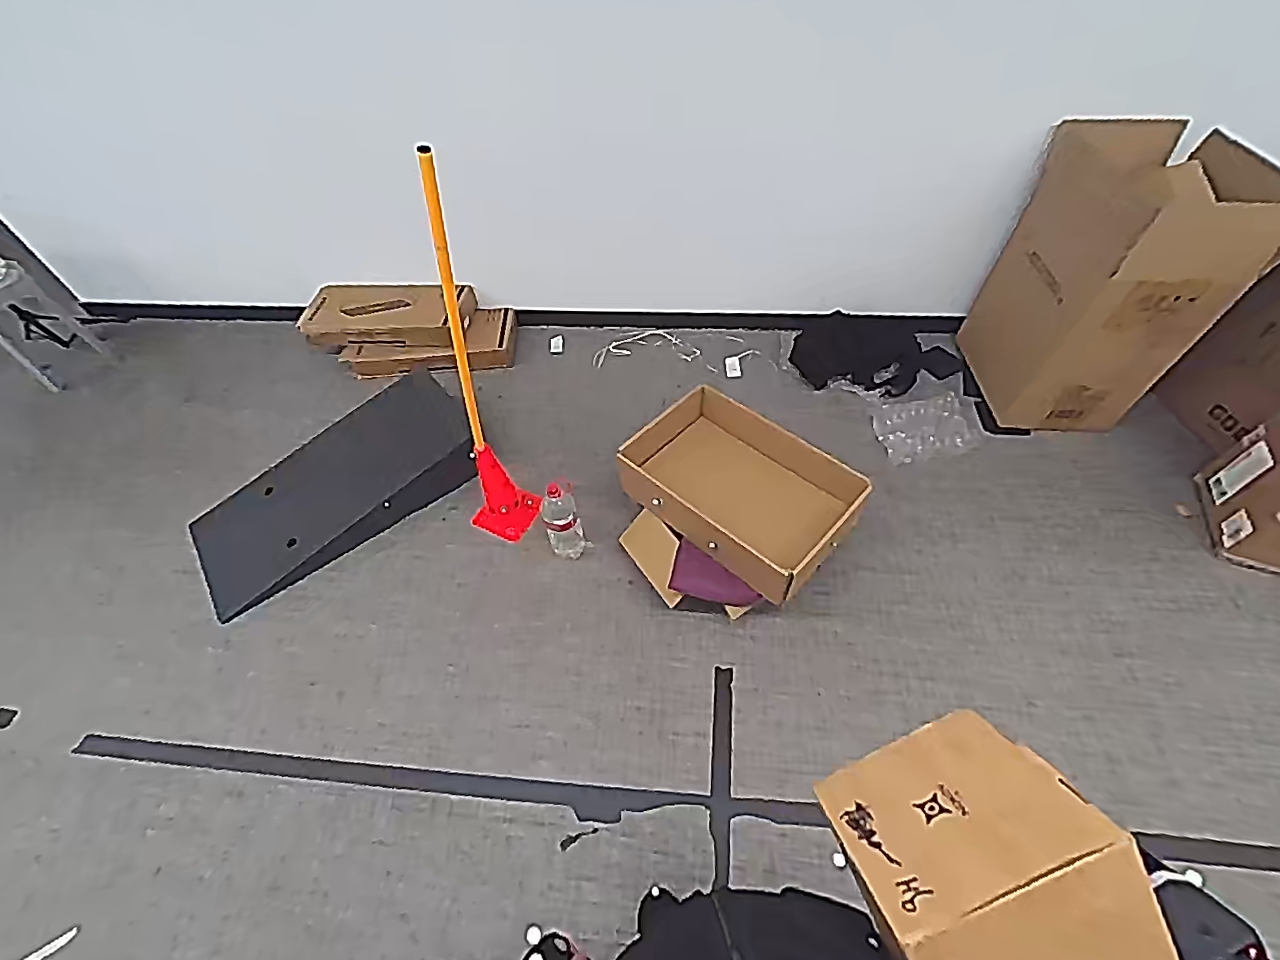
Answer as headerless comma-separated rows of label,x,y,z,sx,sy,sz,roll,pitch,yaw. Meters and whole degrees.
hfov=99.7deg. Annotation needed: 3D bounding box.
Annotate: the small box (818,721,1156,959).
small box,0.291,0.356,0.468,0.179,0.168,0.176,-25,96,-1
